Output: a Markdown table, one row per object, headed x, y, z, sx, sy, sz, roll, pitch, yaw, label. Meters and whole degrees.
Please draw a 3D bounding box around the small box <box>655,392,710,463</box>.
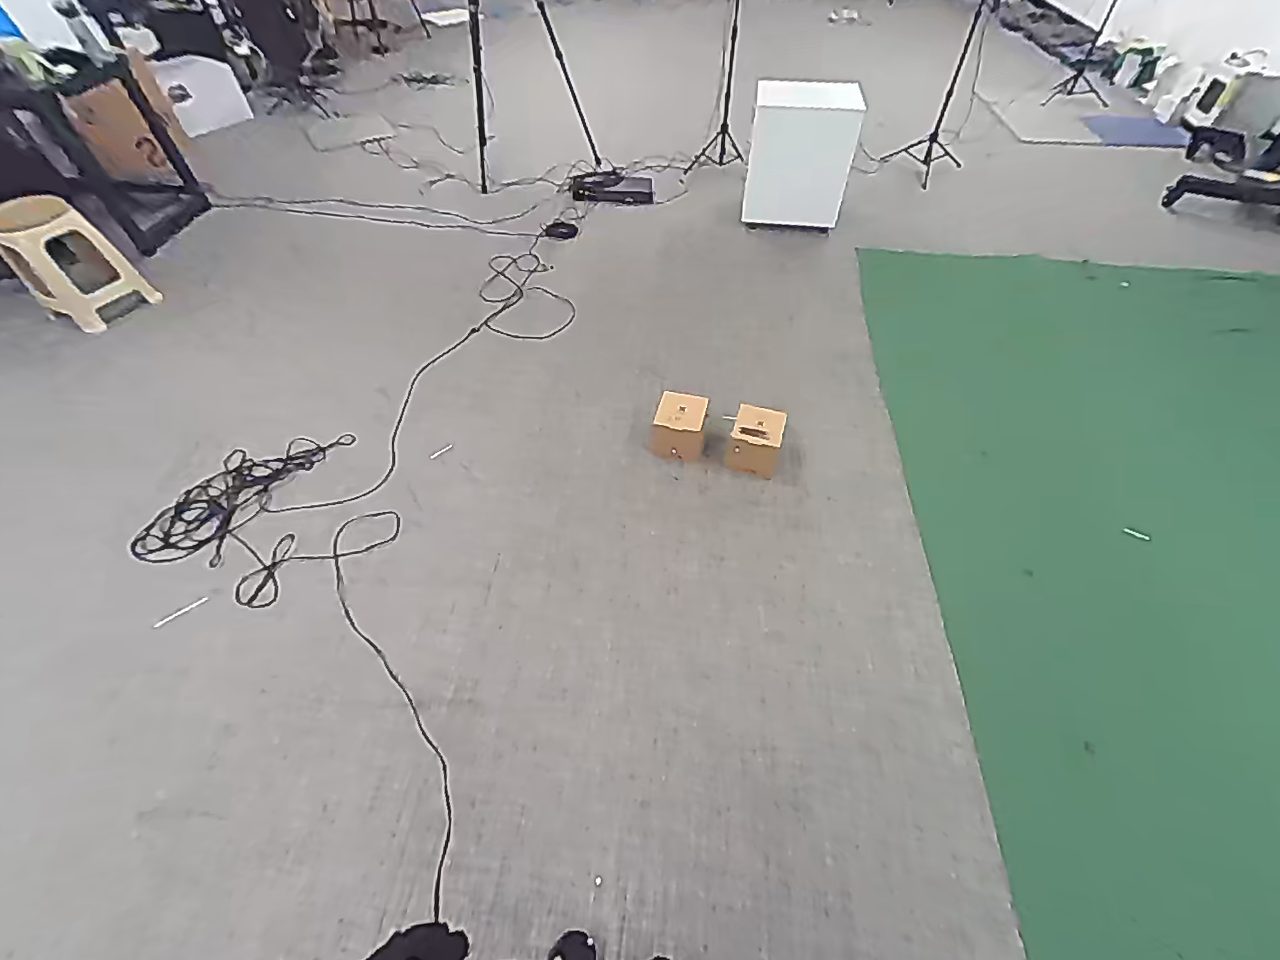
| x | y | z | sx | sy | sz | roll | pitch | yaw | label |
| --- | --- | --- | --- | --- | --- | --- | --- | --- | --- |
| 0.149 | -0.188 | 1.946 | 0.168 | 0.176 | 0.179 | 11 | 52 | 10 | small box |
